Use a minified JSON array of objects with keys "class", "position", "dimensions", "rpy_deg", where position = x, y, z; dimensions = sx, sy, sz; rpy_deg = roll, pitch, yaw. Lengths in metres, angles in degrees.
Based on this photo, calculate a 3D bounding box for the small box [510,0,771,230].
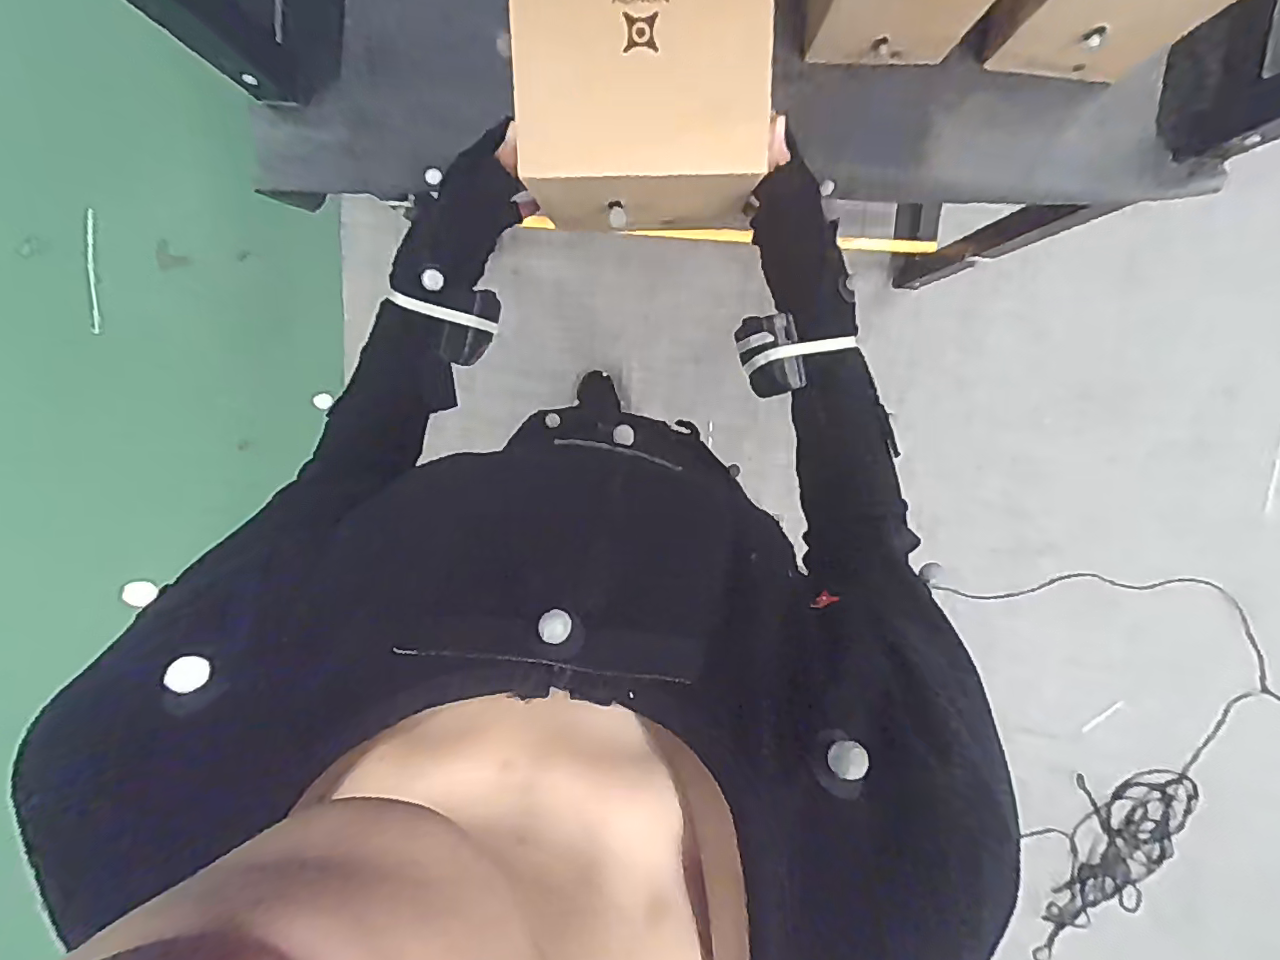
[{"class":"small box","position":[0.002,-0.301,0.416],"dimensions":[0.168,0.176,0.179],"rpy_deg":[0,102,1]}]
